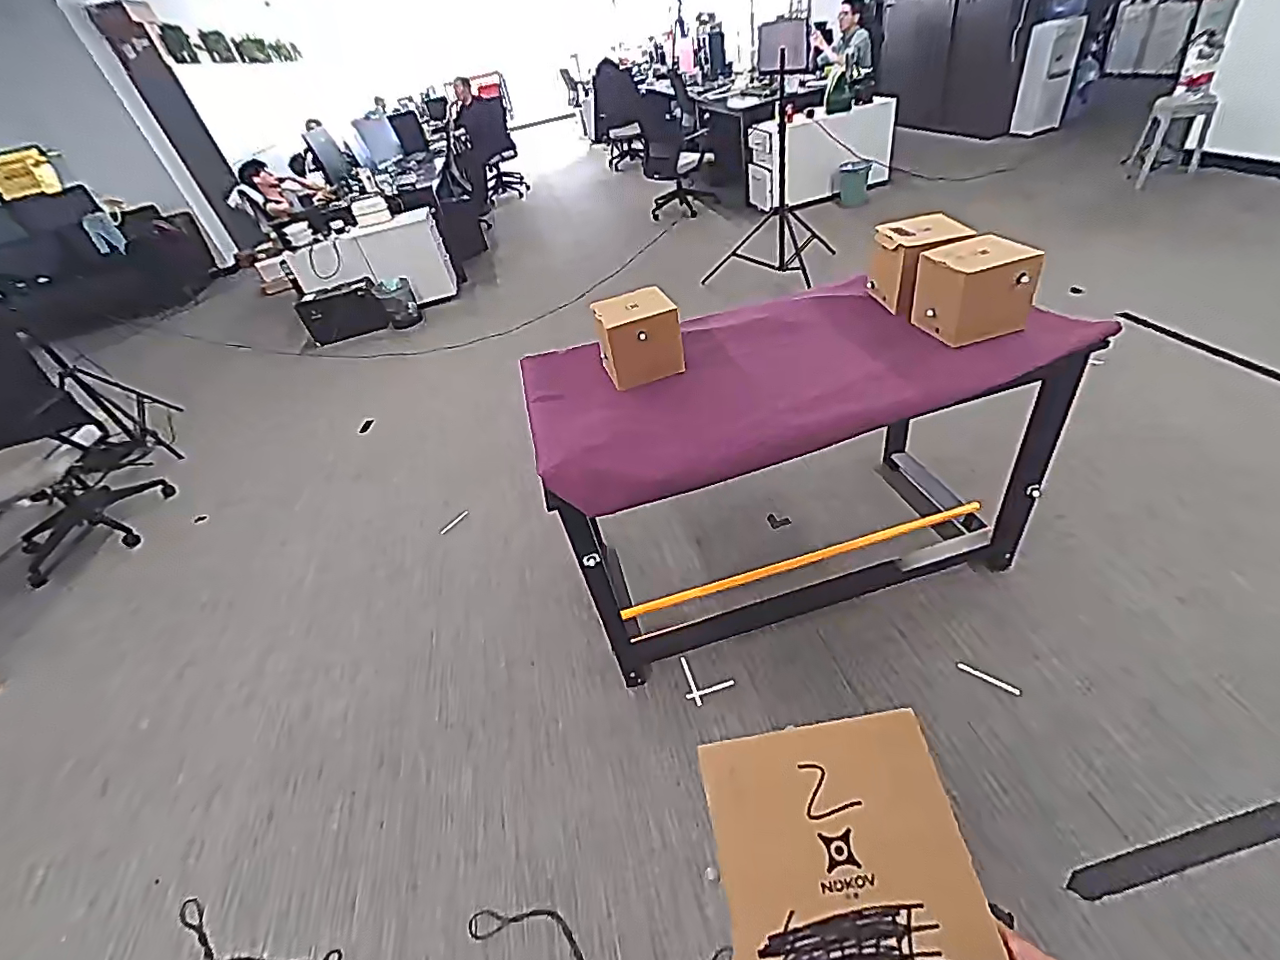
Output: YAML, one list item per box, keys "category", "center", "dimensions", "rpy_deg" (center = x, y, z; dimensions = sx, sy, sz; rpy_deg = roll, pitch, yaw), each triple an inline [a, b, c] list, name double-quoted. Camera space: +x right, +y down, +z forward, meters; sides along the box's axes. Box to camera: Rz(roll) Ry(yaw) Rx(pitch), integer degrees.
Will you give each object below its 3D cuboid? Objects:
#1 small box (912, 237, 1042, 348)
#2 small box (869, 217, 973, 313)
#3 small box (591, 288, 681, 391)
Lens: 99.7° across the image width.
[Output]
- category: "small box"
  center: [0.743, -0.420, 1.215]
  dimensions: [0.179, 0.176, 0.168]
  rpy_deg: [-16, 38, -2]
- category: "small box"
  center: [0.697, -0.540, 1.368]
  dimensions: [0.179, 0.176, 0.168]
  rpy_deg: [-12, 41, 0]
- category: "small box"
  center: [-0.005, -0.347, 1.335]
  dimensions: [0.179, 0.176, 0.168]
  rpy_deg: [-19, 40, -7]
